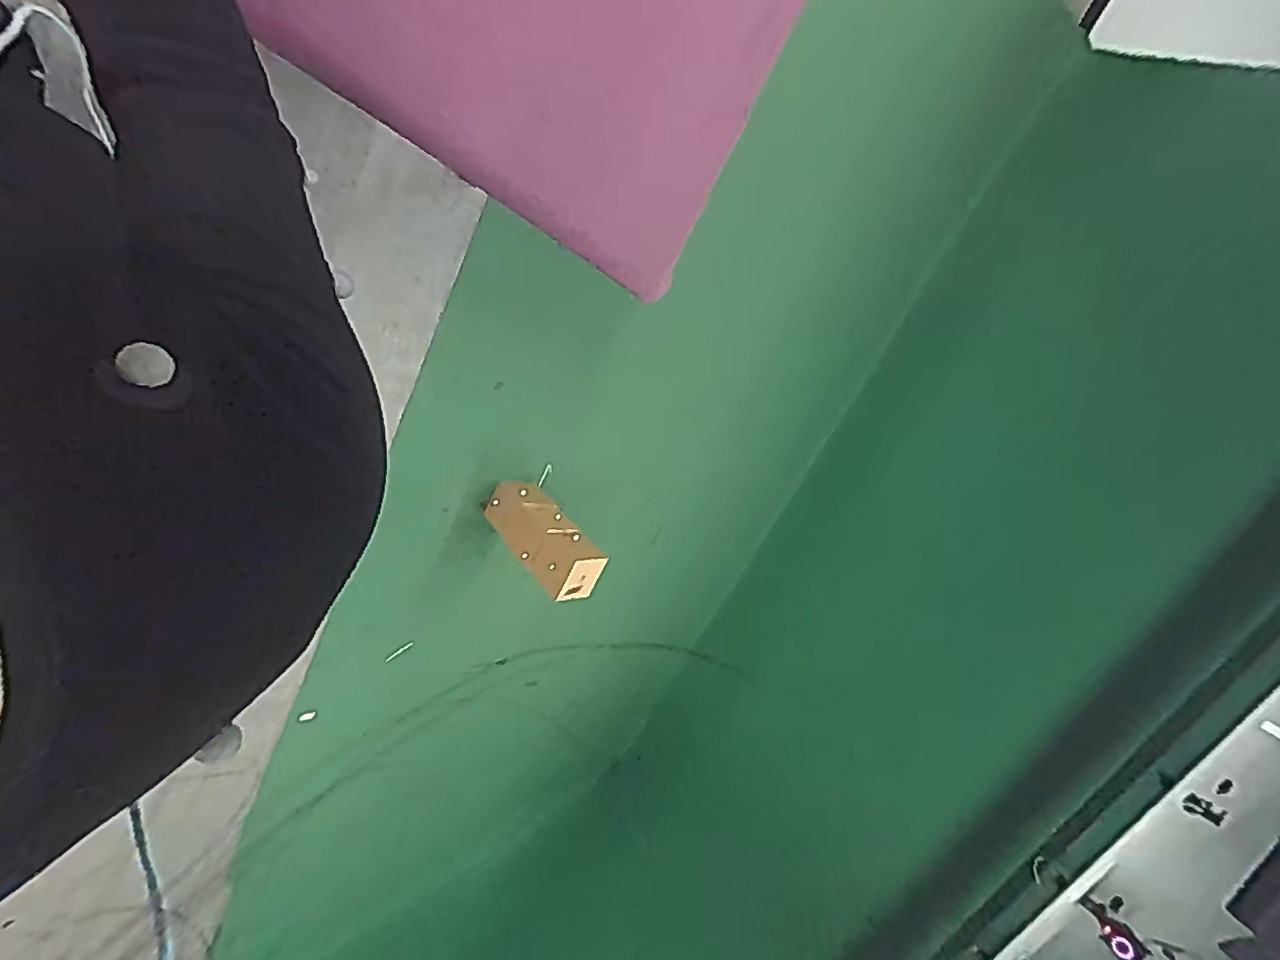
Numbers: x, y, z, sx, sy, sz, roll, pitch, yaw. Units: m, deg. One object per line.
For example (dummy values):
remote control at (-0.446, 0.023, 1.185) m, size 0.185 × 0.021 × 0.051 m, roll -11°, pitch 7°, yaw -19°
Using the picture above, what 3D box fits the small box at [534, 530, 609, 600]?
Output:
small box at (-0.249, 0.296, 1.911) m, size 0.168 × 0.176 × 0.179 m, roll 5°, pitch 118°, yaw -52°

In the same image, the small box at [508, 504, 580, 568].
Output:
small box at (-0.358, 0.202, 1.992) m, size 0.168 × 0.176 × 0.179 m, roll 8°, pitch 117°, yaw -52°
